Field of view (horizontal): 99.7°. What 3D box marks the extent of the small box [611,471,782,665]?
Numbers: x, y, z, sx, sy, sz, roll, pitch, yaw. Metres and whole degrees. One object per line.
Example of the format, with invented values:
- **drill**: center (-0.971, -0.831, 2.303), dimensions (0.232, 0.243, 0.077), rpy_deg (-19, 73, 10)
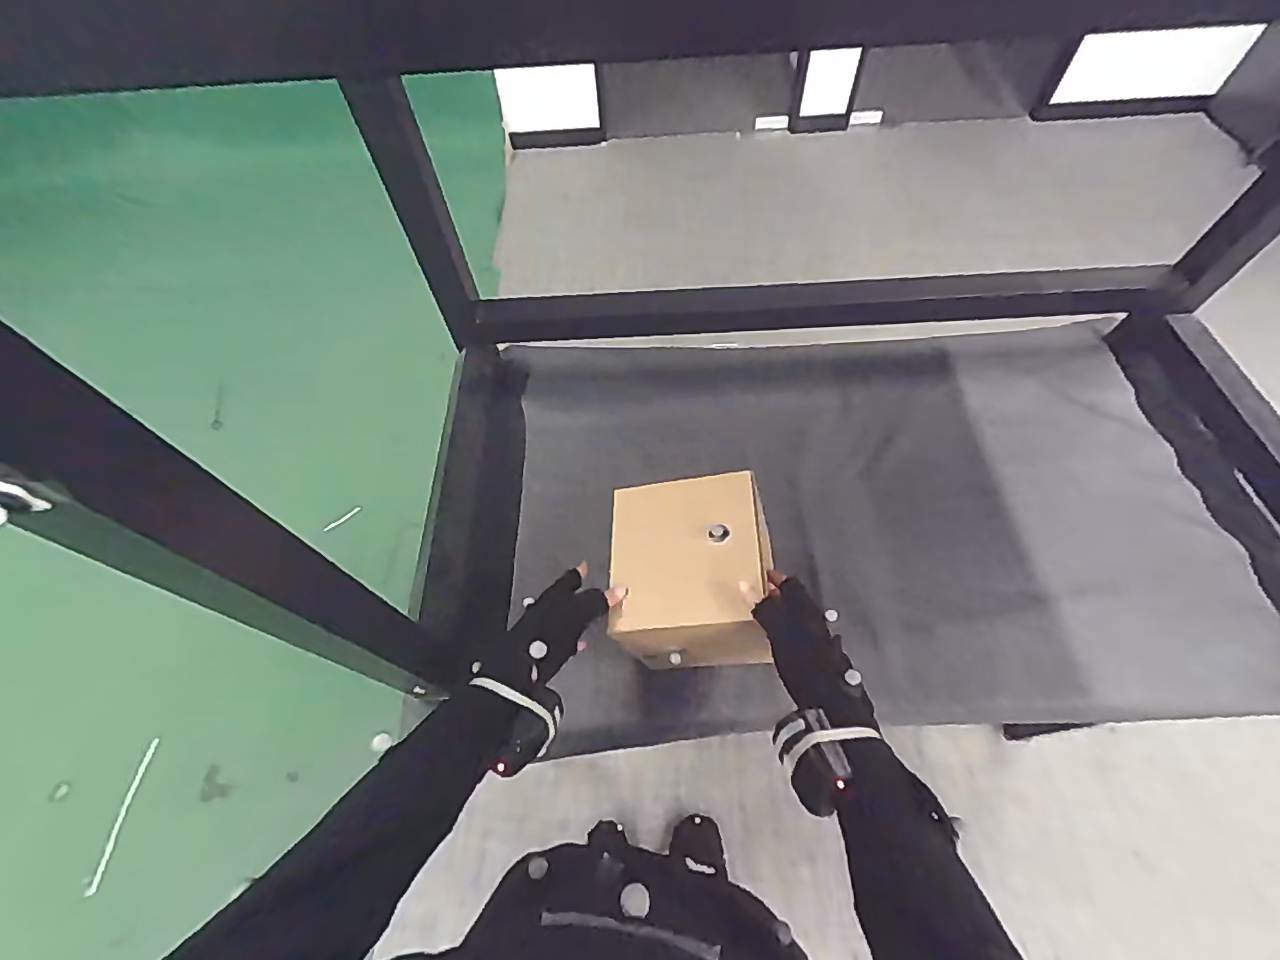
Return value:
- **small box**: center (0.070, 0.114, 0.653), dimensions (0.176, 0.168, 0.179), rpy_deg (-9, 56, 16)
